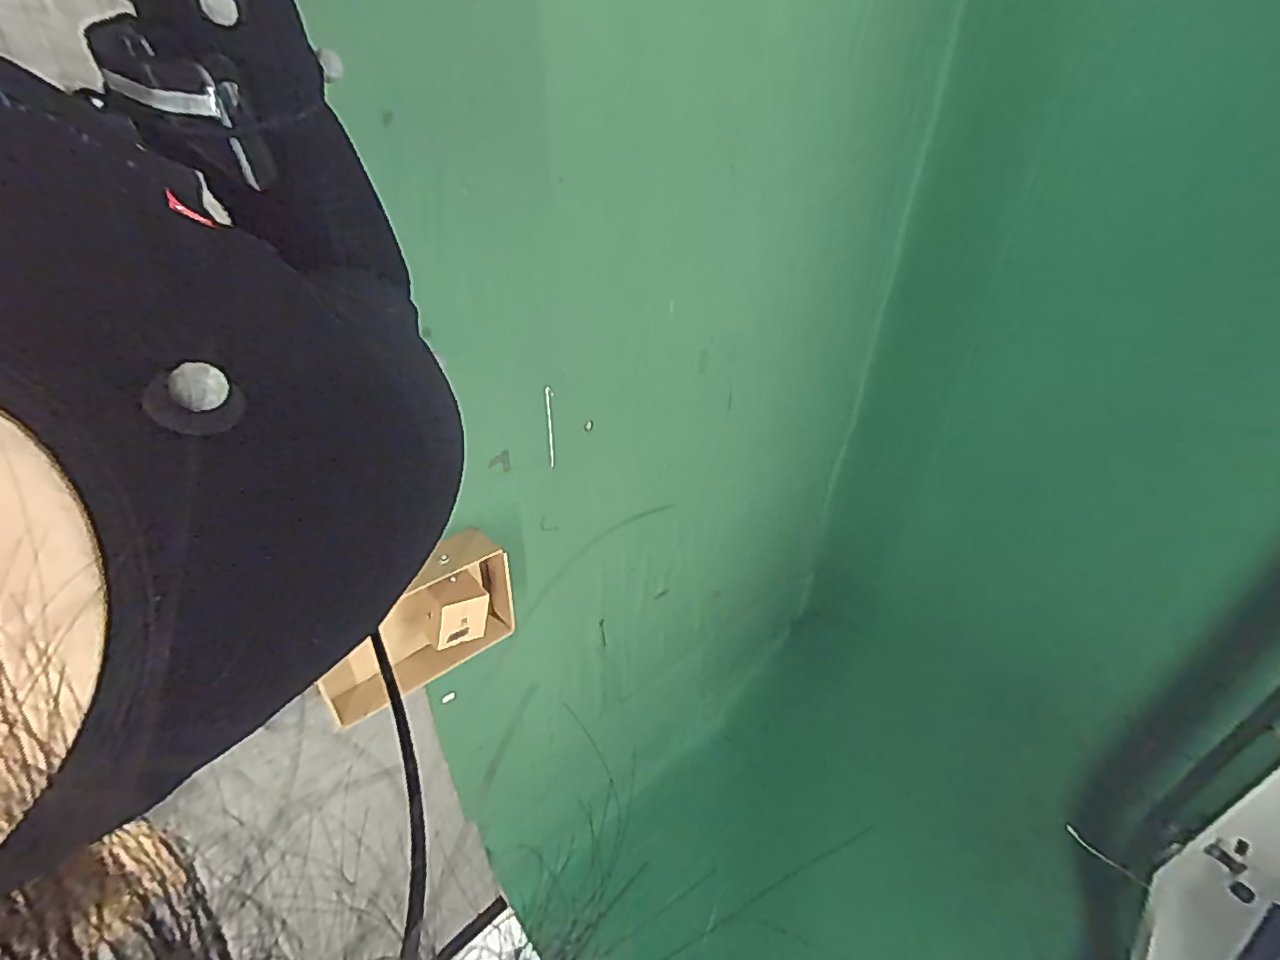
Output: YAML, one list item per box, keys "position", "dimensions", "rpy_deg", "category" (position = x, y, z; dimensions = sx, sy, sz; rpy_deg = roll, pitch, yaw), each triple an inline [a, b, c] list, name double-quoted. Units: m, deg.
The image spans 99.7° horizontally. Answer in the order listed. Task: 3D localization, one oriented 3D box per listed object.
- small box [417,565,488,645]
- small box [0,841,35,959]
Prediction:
- position: [-0.634, 0.414, 1.814]
  dimensions: [0.168, 0.176, 0.179]
  rpy_deg: [-9, 121, -44]
  category: "small box"
- position: [-1.370, 0.878, 1.091]
  dimensions: [0.168, 0.176, 0.179]
  rpy_deg: [-14, 124, -39]
  category: "small box"
